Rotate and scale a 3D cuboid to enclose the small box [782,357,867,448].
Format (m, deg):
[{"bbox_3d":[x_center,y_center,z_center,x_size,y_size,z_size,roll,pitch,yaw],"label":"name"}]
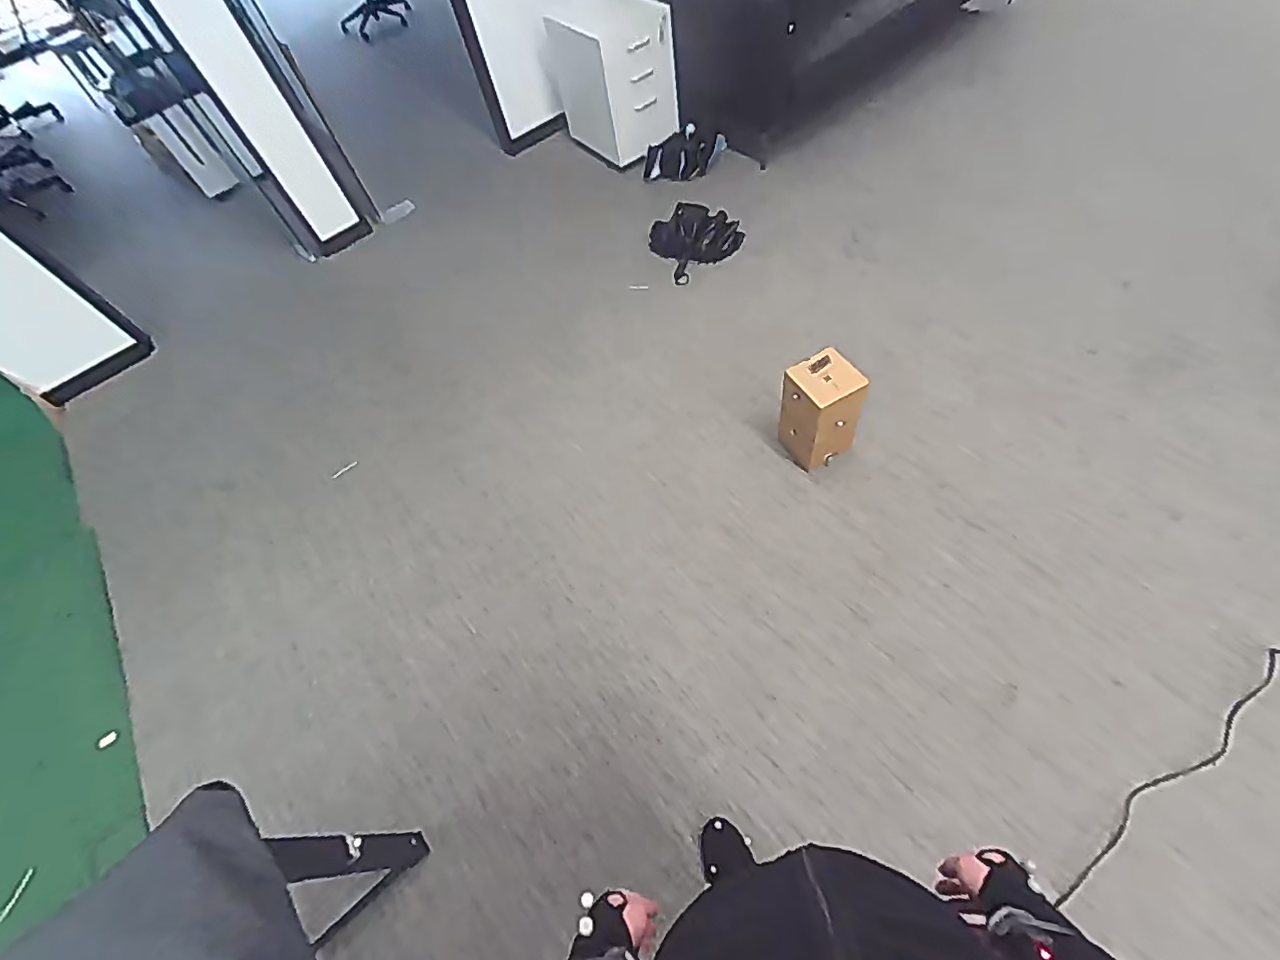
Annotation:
[{"bbox_3d":[0.543,-0.230,1.624,0.168,0.176,0.179,-27,58,-7],"label":"small box"}]

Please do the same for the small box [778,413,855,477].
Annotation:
[{"bbox_3d":[0.565,-0.142,1.761,0.168,0.176,0.179,-28,59,-7],"label":"small box"}]
